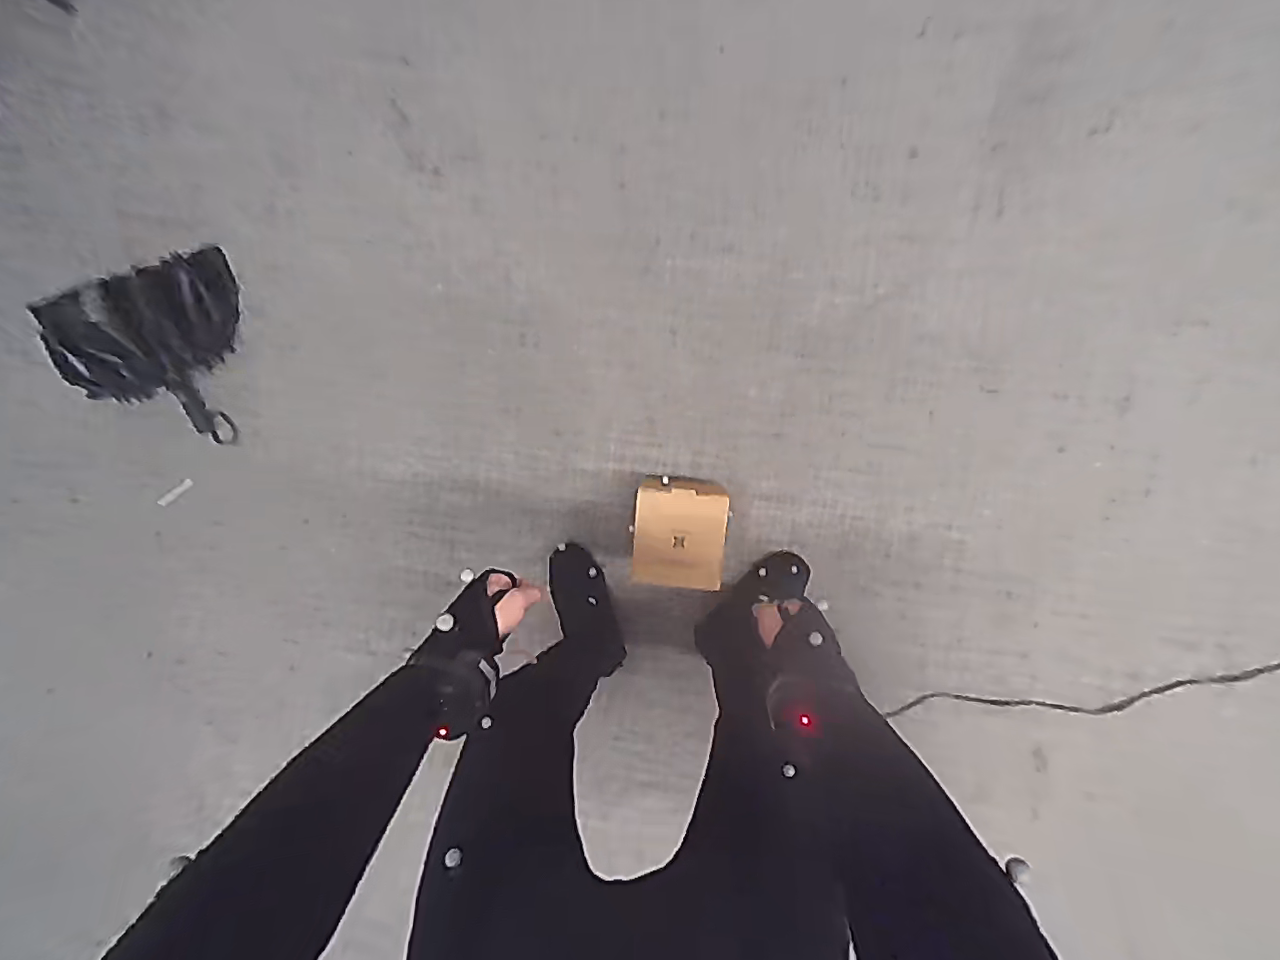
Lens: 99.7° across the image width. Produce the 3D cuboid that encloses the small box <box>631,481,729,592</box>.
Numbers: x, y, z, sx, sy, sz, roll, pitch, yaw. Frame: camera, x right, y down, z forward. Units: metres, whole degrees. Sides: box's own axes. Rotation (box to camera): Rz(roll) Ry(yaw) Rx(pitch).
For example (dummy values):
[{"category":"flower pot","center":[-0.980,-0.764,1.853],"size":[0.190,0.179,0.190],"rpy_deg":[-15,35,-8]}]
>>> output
[{"category":"small box","center":[0.077,0.101,1.056],"size":[0.168,0.176,0.179],"rpy_deg":[5,99,5]}]
